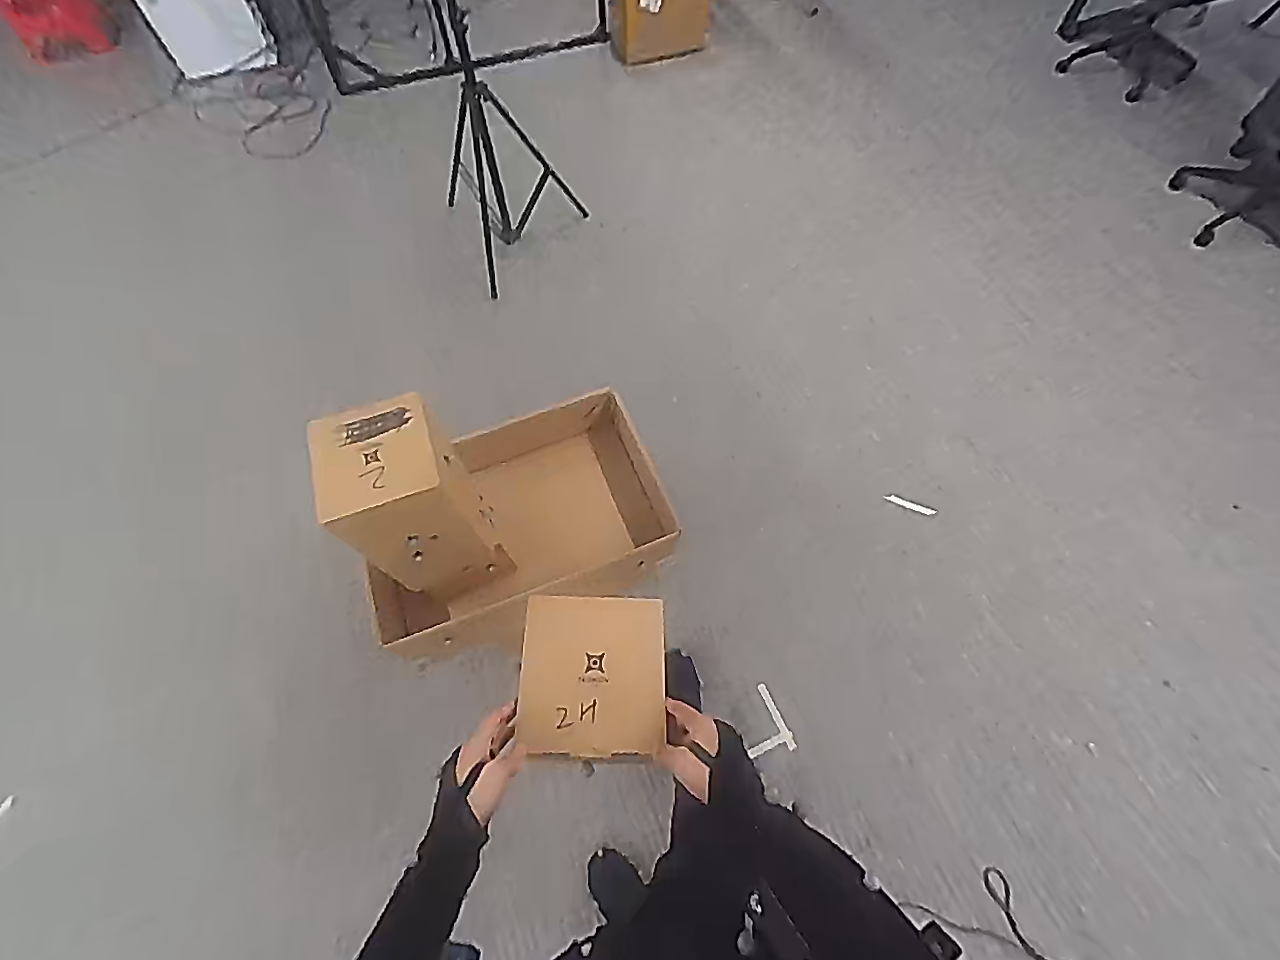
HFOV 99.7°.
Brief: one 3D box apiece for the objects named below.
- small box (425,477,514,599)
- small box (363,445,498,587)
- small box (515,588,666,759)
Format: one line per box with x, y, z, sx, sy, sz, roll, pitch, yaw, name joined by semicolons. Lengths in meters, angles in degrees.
-0.378;0.127;1.136;0.179;0.176;0.168;-25;65;-11;small box
-0.375;0.069;0.982;0.168;0.176;0.179;-20;63;-9;small box
-0.061;0.252;0.689;0.168;0.176;0.179;4;60;-5;small box
